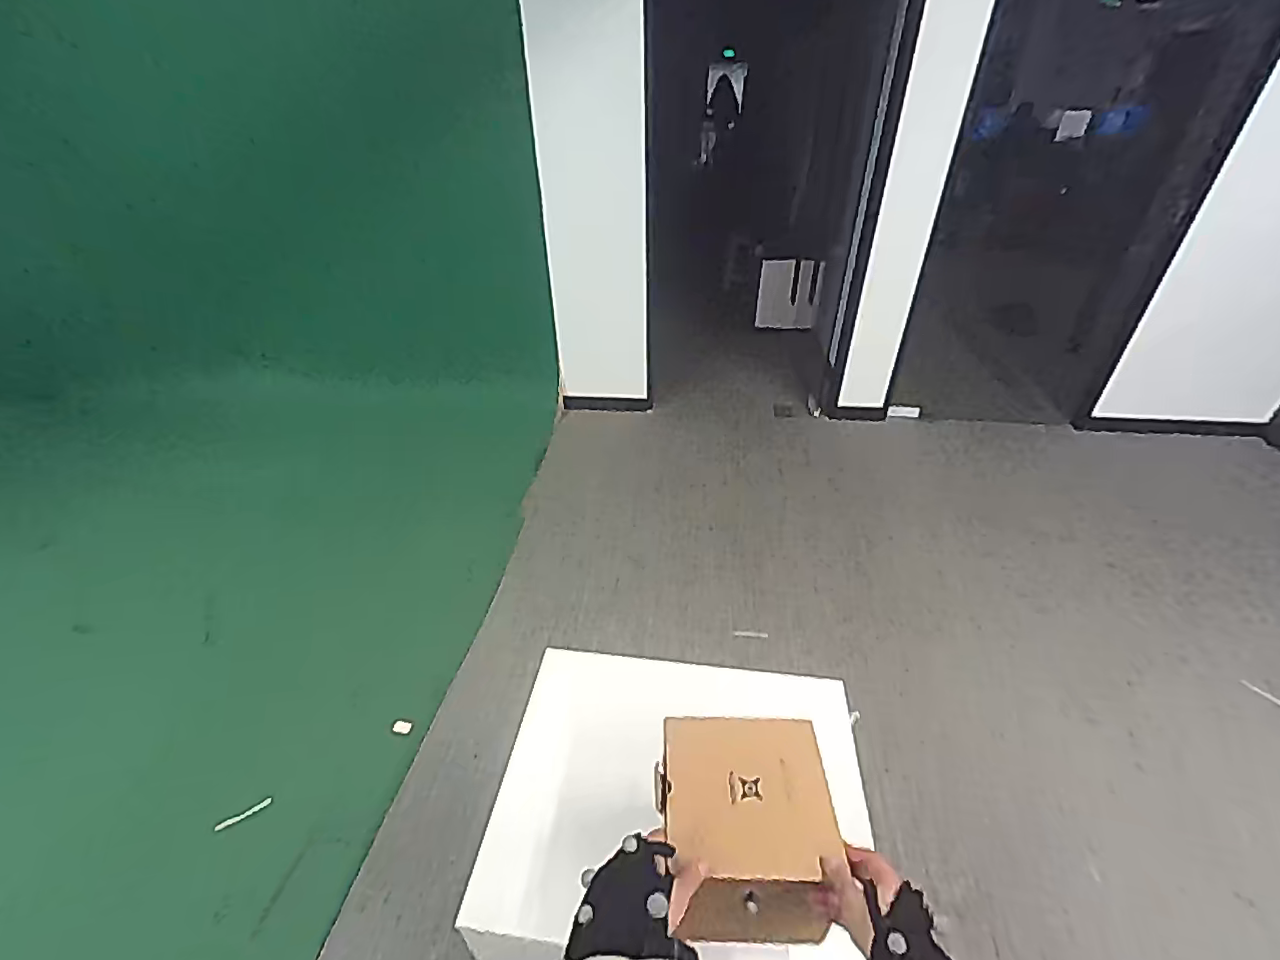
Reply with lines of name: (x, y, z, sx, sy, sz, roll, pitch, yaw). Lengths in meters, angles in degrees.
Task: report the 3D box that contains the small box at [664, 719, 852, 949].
small box: (0.116, 0.395, 0.609, 0.179, 0.176, 0.168, 1, 33, 2)
